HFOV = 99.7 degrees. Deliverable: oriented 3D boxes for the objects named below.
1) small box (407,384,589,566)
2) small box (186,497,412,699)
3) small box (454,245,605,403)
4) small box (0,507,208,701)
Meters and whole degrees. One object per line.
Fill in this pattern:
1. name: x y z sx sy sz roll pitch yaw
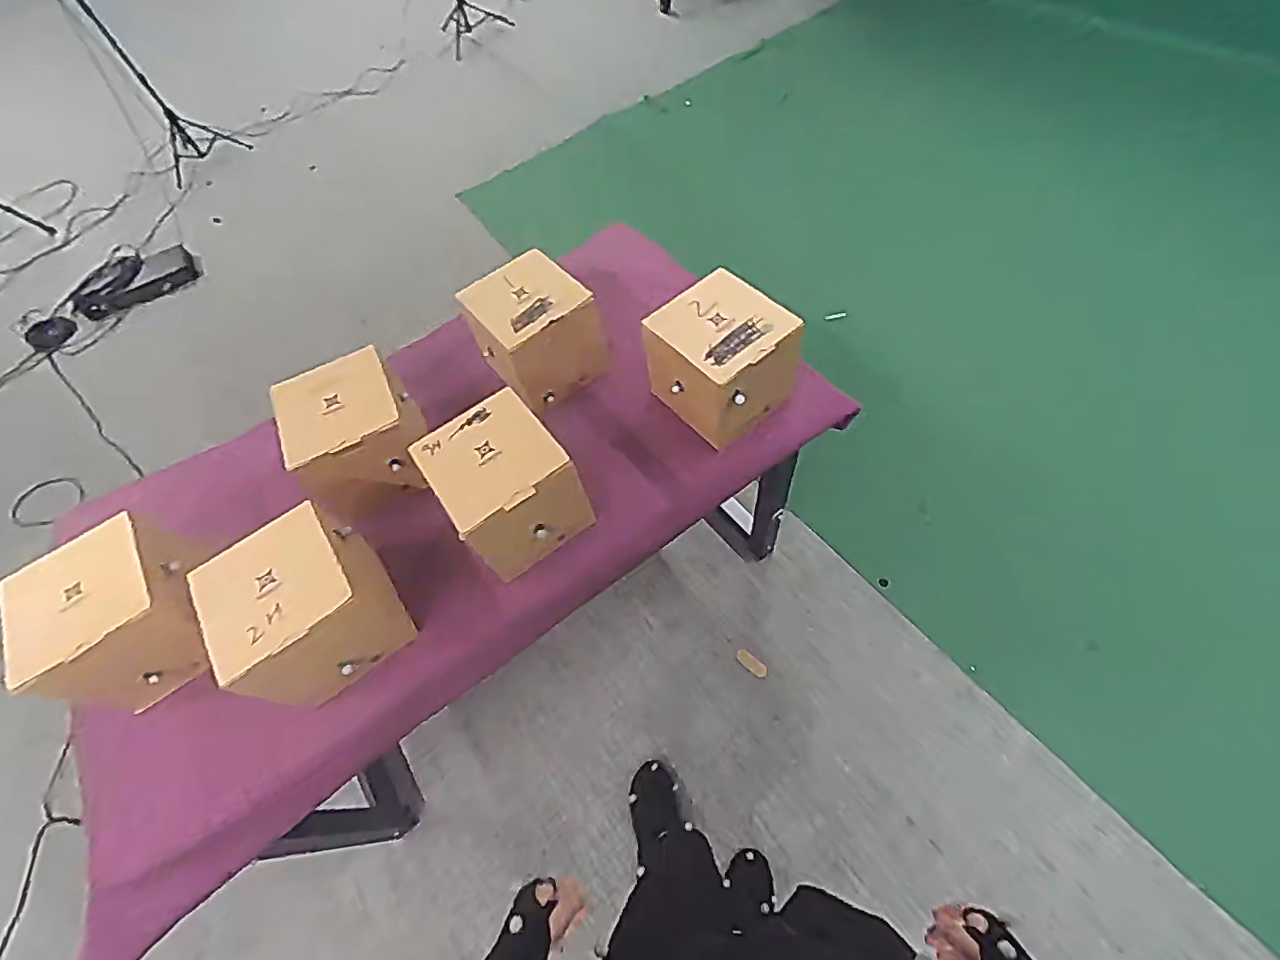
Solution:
1. small box: -0.193 0.003 0.778 0.168 0.176 0.179 -35 61 -13
2. small box: -0.439 0.161 0.716 0.168 0.176 0.179 -35 62 -13
3. small box: -0.179 -0.258 0.928 0.168 0.176 0.179 -37 61 -14
4. small box: -0.699 0.176 0.741 0.168 0.176 0.179 -35 63 -14
